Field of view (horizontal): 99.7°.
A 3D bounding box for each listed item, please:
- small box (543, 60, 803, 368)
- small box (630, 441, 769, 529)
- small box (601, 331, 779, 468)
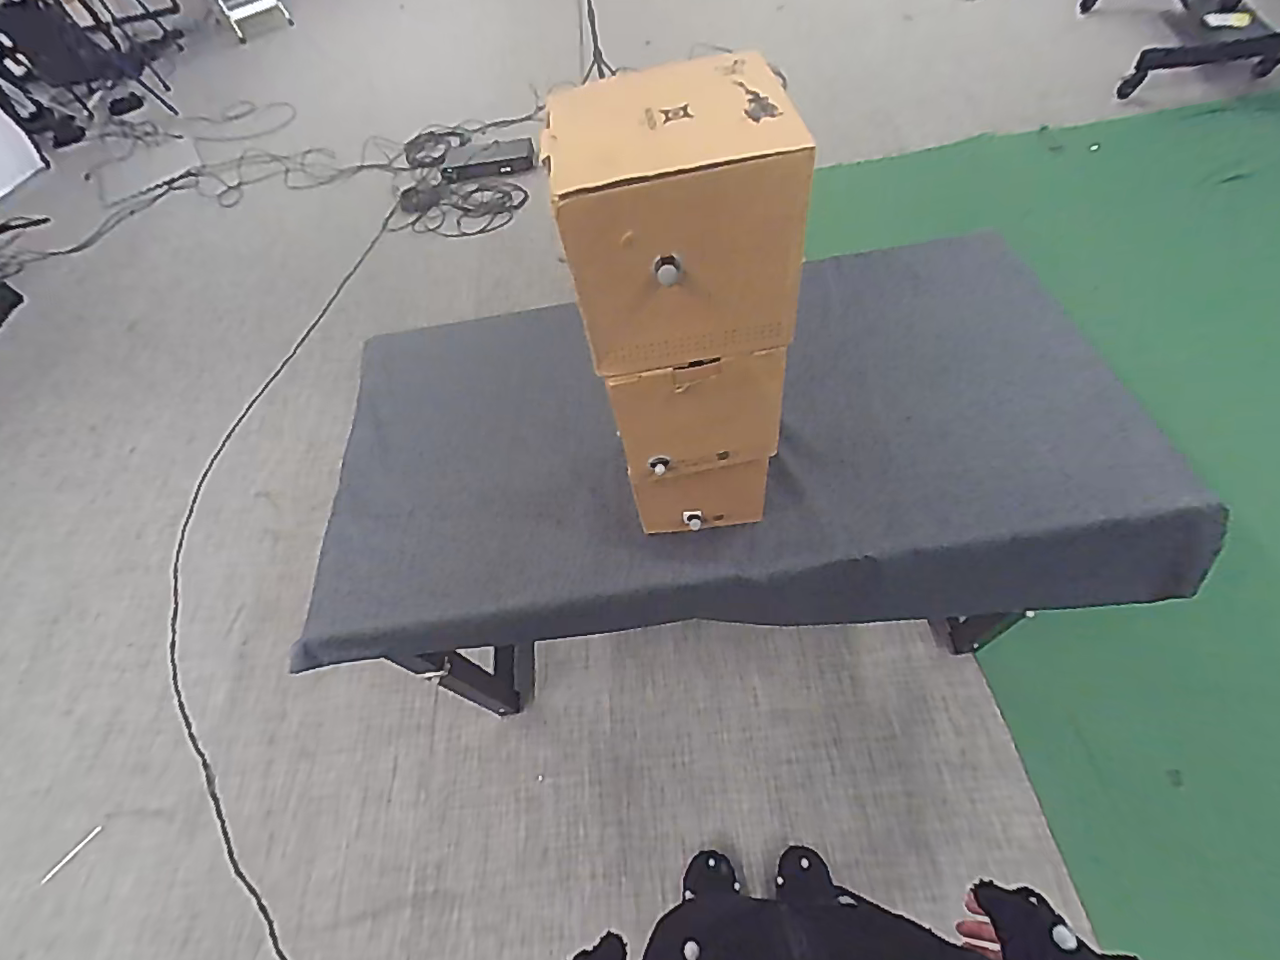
[{"bbox_3d":[0.026,-0.220,0.469,0.179,0.176,0.168,-12,54,2],"label":"small box"},{"bbox_3d":[0.075,-0.054,0.745,0.168,0.176,0.179,-9,58,5],"label":"small box"},{"bbox_3d":[0.047,-0.131,0.602,0.168,0.176,0.179,-15,57,1],"label":"small box"}]
